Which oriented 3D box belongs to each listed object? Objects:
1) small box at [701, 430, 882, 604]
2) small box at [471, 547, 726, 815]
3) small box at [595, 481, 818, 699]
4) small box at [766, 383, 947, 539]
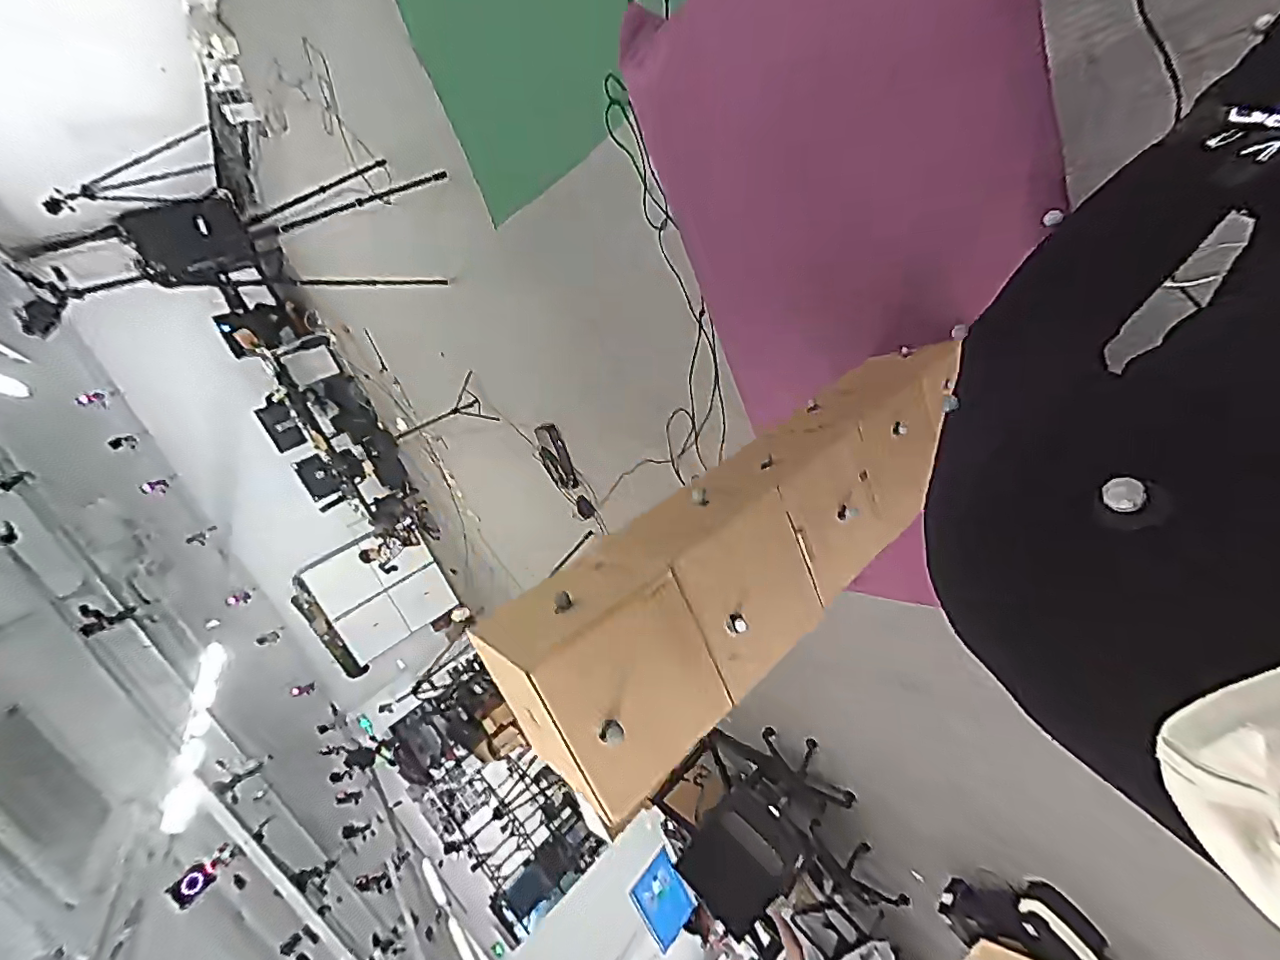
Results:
[{"bbox_3d":[0.201,0.041,0.730,0.179,0.176,0.168,-3,115,56],"label":"small box"},{"bbox_3d":[-0.041,0.186,0.565,0.168,0.176,0.179,-2,116,56],"label":"small box"},{"bbox_3d":[0.082,0.116,0.644,0.168,0.176,0.179,-2,115,57],"label":"small box"},{"bbox_3d":[0.324,-0.034,0.806,0.168,0.176,0.179,0,118,56],"label":"small box"}]
